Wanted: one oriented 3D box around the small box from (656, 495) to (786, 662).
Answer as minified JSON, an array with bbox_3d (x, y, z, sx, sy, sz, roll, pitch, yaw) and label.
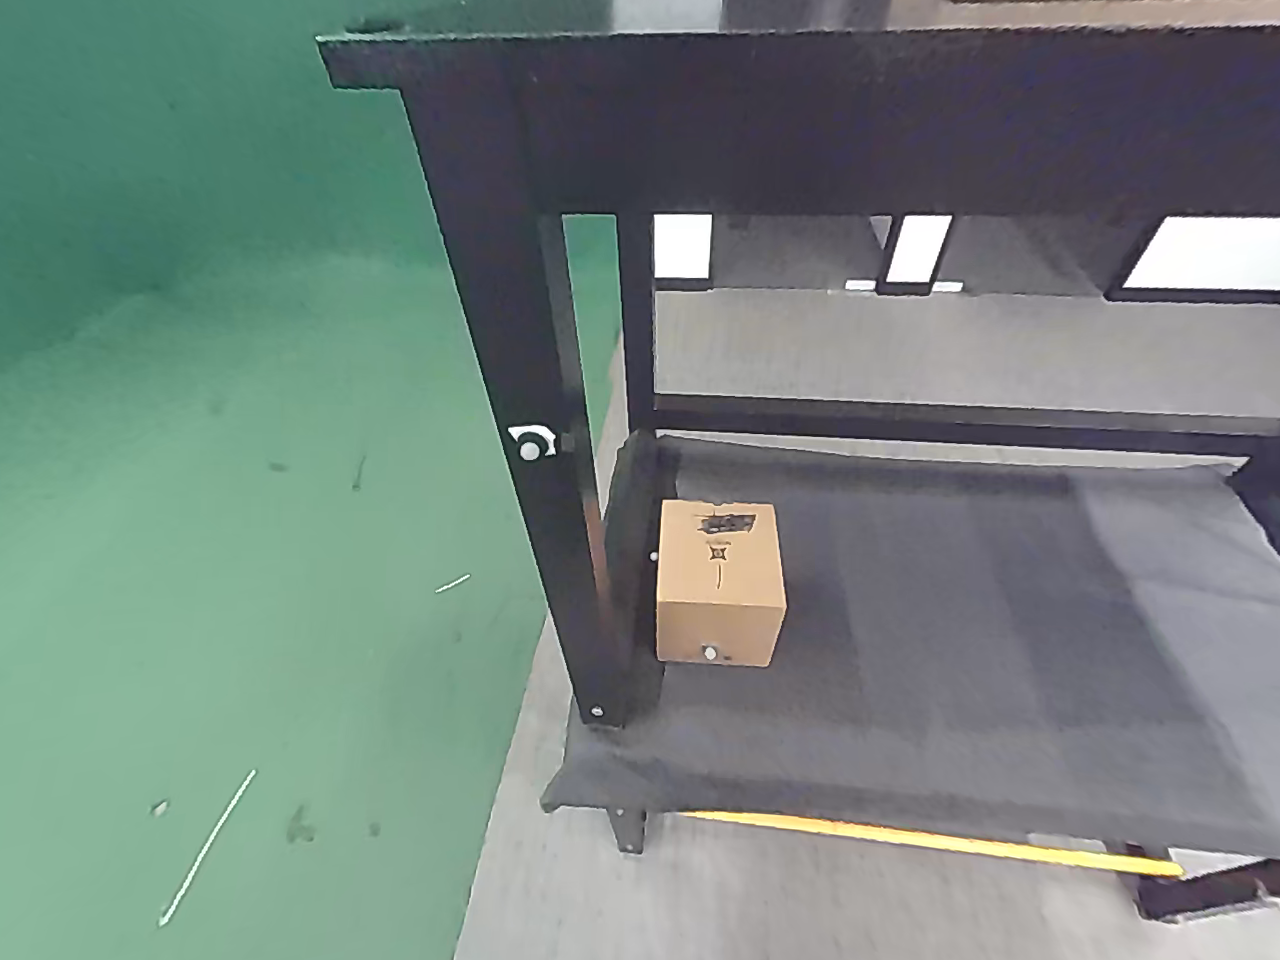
[{"bbox_3d":[0.110,0.144,0.796,0.168,0.176,0.179,1,46,4],"label":"small box"}]
